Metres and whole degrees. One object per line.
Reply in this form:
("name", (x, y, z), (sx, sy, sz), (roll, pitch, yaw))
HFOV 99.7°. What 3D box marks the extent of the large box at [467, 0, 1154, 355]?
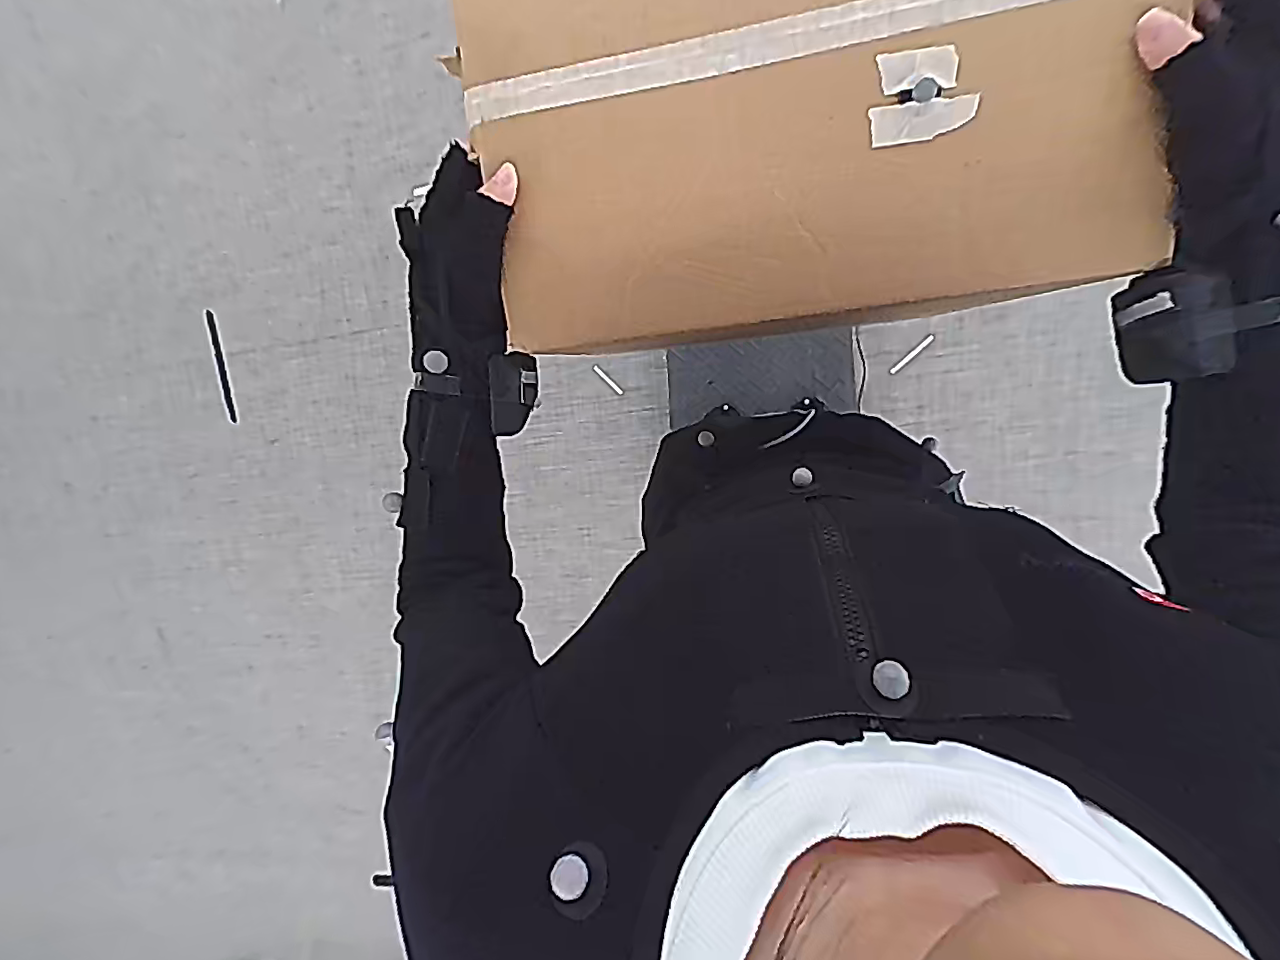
("large box", (0.109, -0.296, 0.476), (0.408, 0.320, 0.320), (-6, 102, 9))
